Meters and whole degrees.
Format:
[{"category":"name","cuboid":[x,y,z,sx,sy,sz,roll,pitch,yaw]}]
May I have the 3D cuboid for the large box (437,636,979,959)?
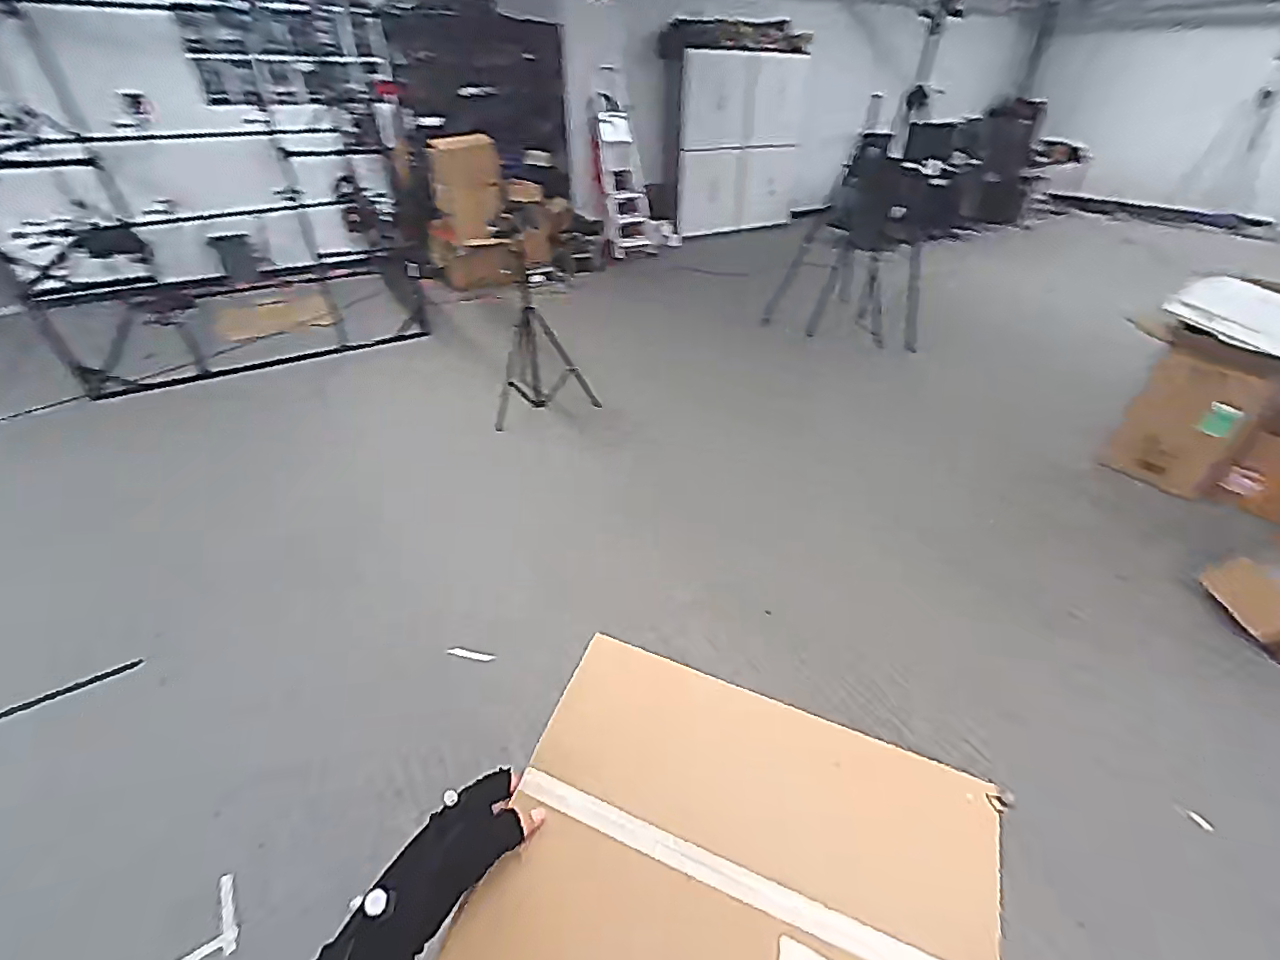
[{"category":"large box","cuboid":[0.075,0.427,0.574,0.408,0.320,0.320,16,51,15]}]
